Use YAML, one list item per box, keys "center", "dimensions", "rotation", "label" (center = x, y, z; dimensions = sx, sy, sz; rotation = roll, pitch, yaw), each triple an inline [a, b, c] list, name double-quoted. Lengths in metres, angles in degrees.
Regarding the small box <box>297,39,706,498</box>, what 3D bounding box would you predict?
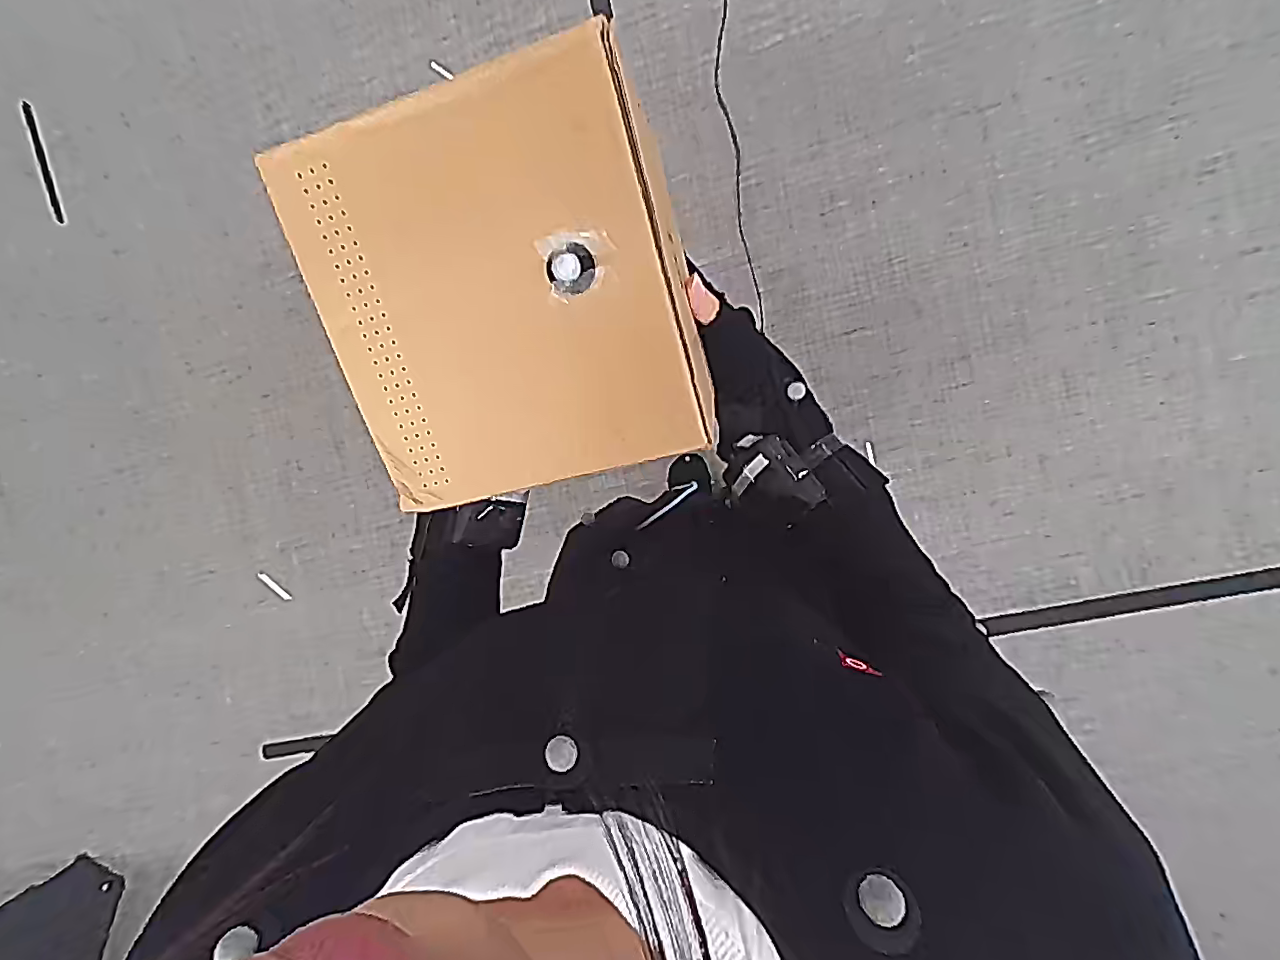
- center: [-0.061, -0.106, 0.332]
  dimensions: [0.176, 0.168, 0.179]
  rotation: [-12, 105, 12]
  label: "small box"
